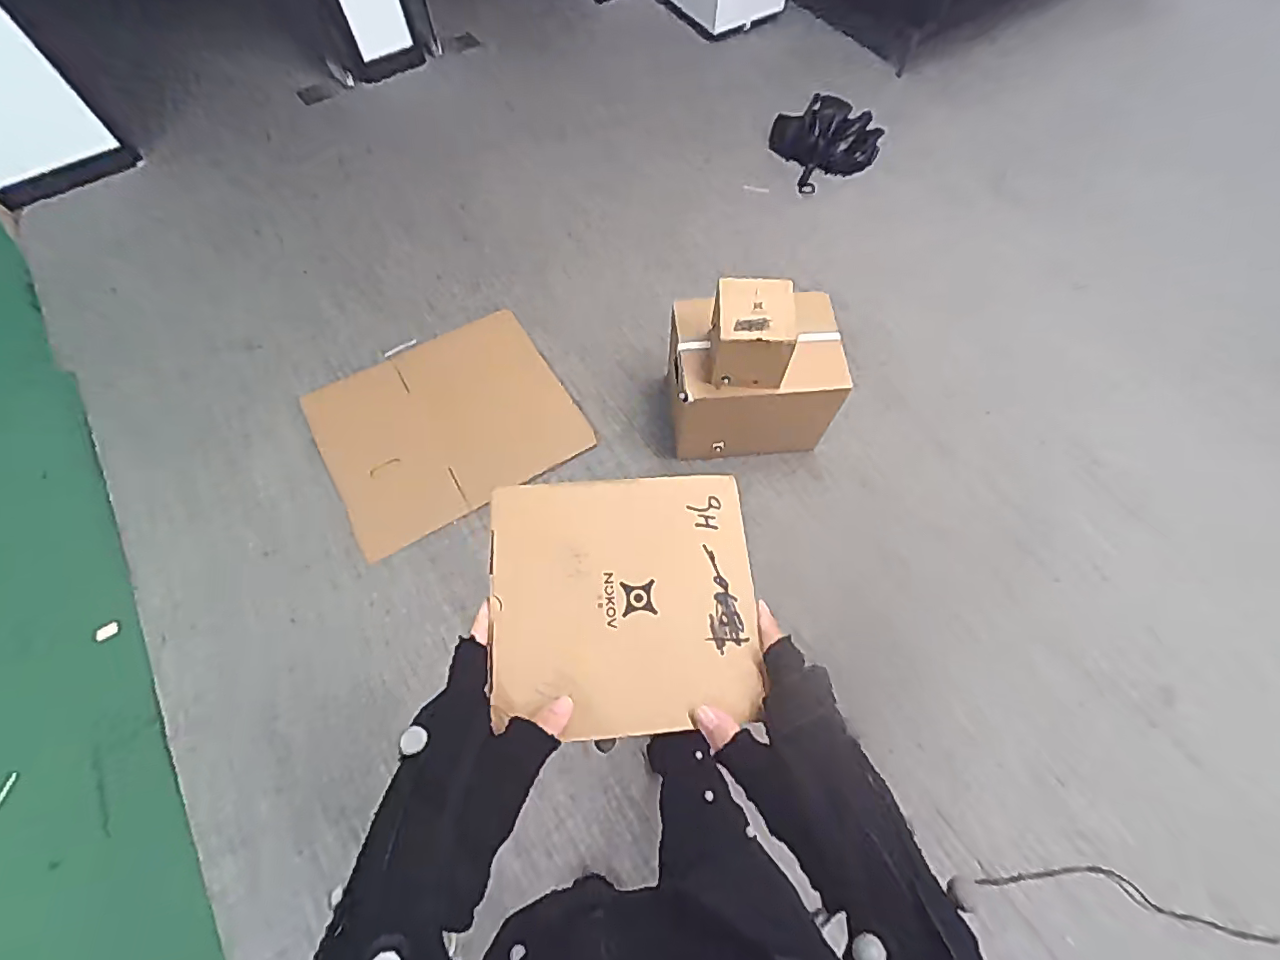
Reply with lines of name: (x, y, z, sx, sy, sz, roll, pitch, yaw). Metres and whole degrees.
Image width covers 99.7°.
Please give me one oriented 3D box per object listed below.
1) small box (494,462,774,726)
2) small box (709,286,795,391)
small box: (-0.015, 0.100, 0.438, 0.179, 0.176, 0.168, -5, 67, -8)
small box: (0.251, -0.321, 1.246, 0.168, 0.176, 0.179, 2, 64, 2)
